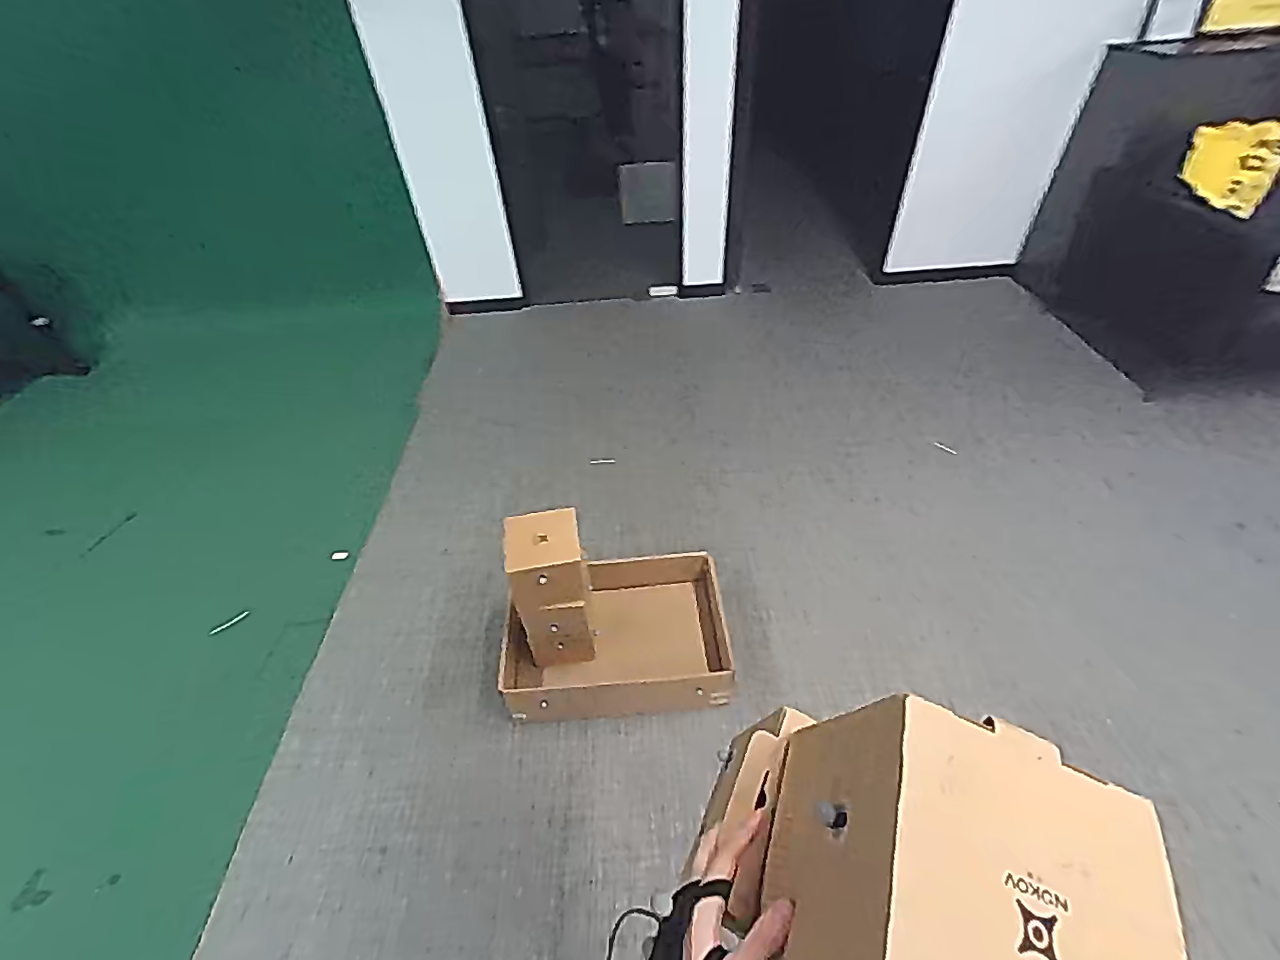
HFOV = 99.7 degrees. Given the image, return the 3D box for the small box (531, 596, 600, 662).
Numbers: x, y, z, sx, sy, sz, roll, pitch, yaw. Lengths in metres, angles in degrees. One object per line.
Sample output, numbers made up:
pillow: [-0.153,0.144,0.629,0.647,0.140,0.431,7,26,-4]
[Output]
small box: [-0.215,0.415,1.576,0.179,0.176,0.168,-6,46,-4]

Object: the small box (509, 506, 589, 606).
small box: [-0.221,0.190,1.340,0.179,0.176,0.168,-9,47,-5]

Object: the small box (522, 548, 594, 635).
small box: [-0.212,0.305,1.454,0.168,0.176,0.179,-3,46,-1]

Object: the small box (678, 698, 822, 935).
small box: [0.155,0.341,0.506,0.179,0.176,0.168,28,55,8]

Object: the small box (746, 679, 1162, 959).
small box: [0.187,0.267,0.359,0.168,0.176,0.179,24,54,3]
